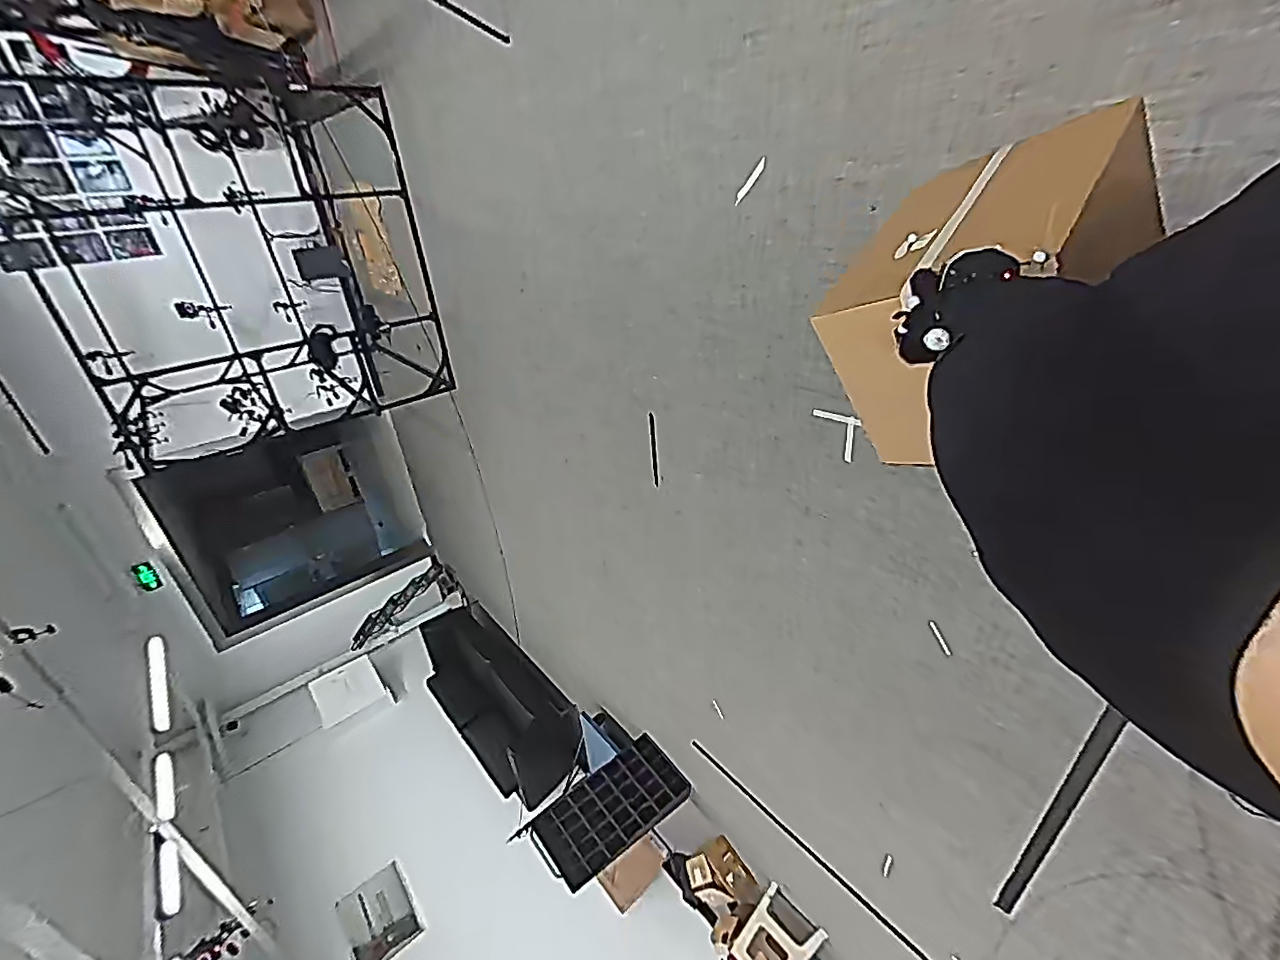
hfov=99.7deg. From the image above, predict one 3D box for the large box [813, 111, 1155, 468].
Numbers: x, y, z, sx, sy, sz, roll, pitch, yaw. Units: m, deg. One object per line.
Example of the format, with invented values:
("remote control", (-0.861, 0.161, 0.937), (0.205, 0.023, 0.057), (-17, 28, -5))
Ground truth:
("large box", (0.549, -0.266, 0.847), (0.320, 0.408, 0.320), (50, 155, -25))
